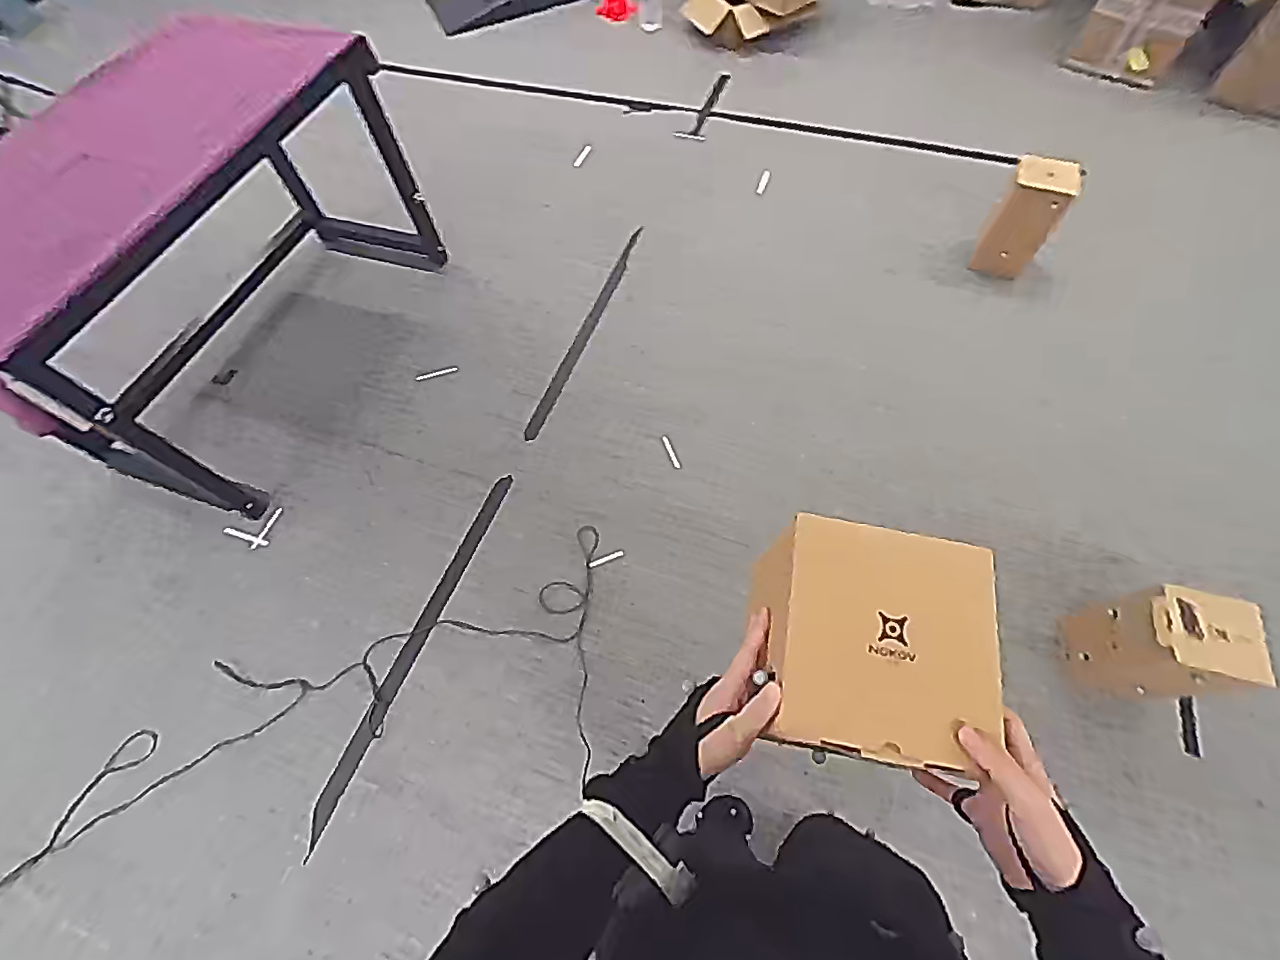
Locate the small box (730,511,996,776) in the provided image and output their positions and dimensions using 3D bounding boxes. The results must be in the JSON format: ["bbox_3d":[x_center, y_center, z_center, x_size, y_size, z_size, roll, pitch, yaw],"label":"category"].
[{"bbox_3d":[0.185,0.150,0.494,0.168,0.176,0.179,10,67,2],"label":"small box"}]

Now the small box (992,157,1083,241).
[{"bbox_3d":[1.297,-0.915,1.771,0.179,0.176,0.168,20,65,13],"label":"small box"}]

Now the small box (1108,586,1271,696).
[{"bbox_3d":[1.125,0.342,1.130,0.179,0.176,0.168,14,65,9],"label":"small box"}]

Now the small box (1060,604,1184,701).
[{"bbox_3d":[1.134,0.413,1.278,0.179,0.176,0.168,13,65,8],"label":"small box"}]
